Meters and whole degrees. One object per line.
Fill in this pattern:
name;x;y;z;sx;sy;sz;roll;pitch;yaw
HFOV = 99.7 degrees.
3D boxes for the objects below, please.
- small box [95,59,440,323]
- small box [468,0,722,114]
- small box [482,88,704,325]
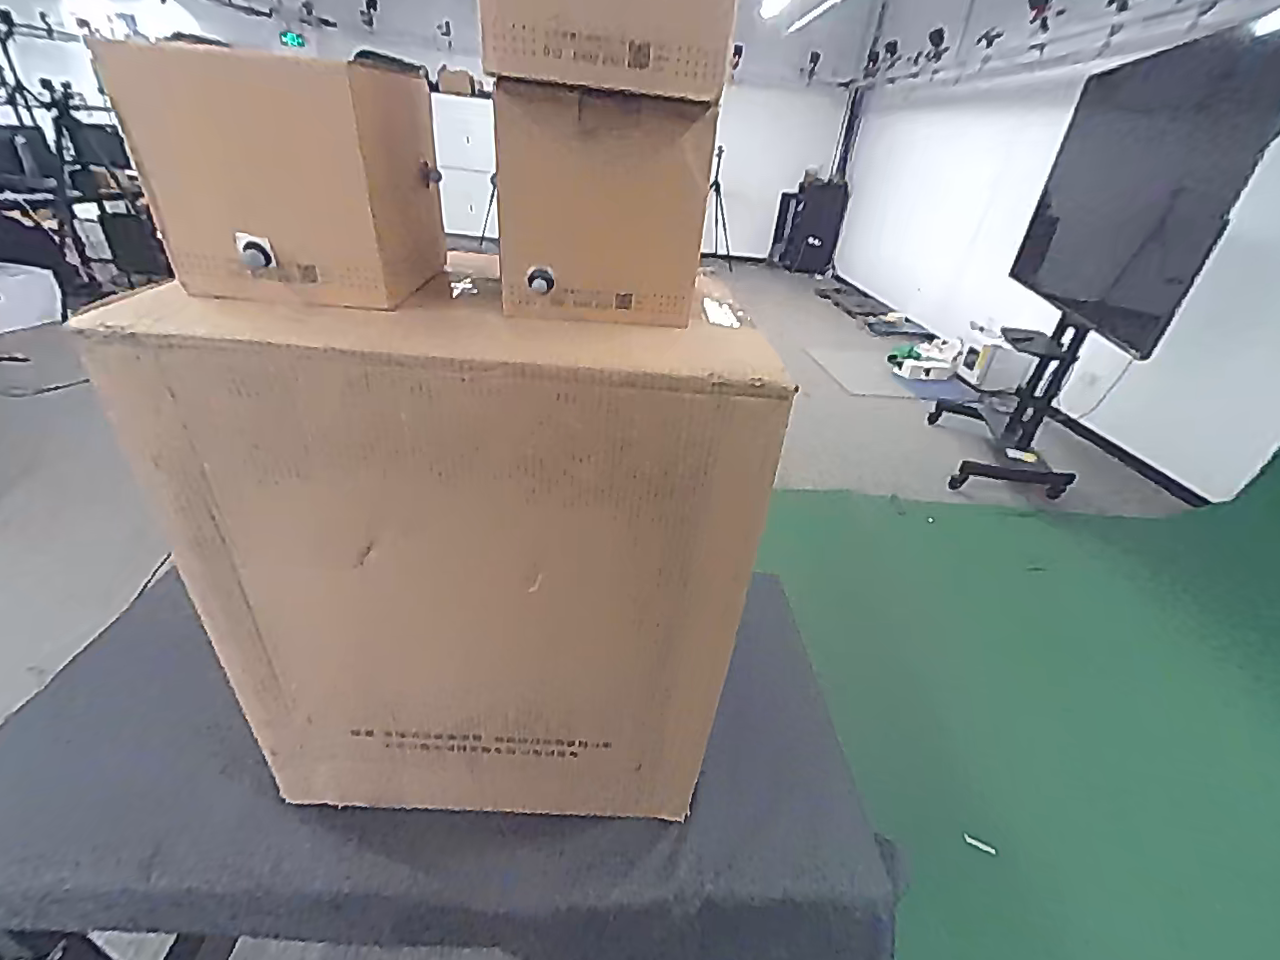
small box;-0.285;-0.249;0.471;0.168;0.176;0.179;1;35;-3
small box;-0.032;-0.376;0.396;0.168;0.176;0.179;1;33;-7
small box;-0.045;-0.250;0.501;0.168;0.176;0.179;0;33;-8
